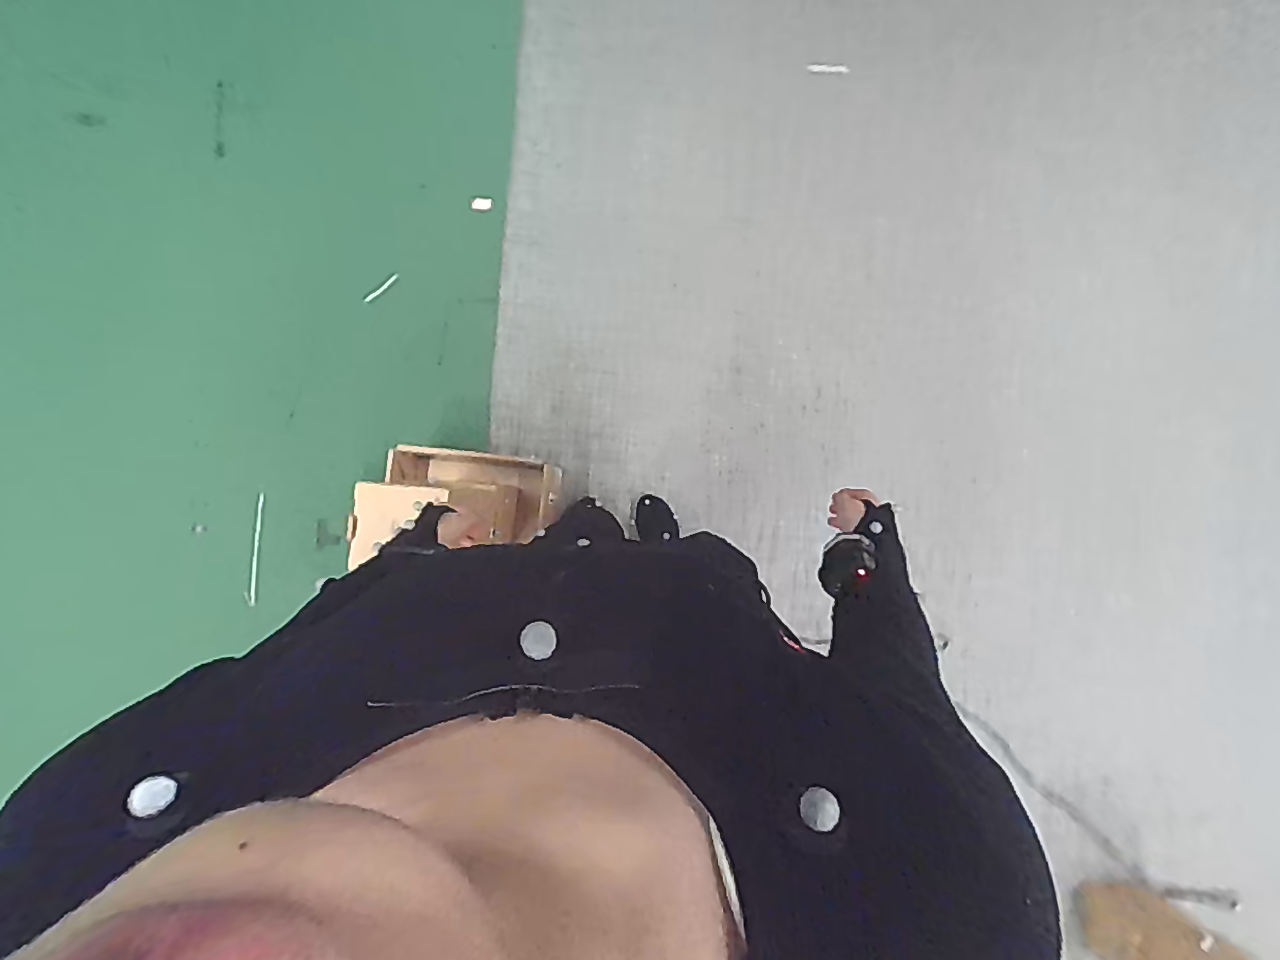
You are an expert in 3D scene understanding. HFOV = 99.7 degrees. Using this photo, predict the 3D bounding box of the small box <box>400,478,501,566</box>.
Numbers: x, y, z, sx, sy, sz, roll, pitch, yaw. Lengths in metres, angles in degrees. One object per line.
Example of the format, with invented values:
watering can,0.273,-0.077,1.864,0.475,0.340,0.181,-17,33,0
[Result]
small box,-0.427,0.089,1.205,0.179,0.176,0.168,7,90,1

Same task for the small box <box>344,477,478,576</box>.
small box,-0.431,0.085,1.040,0.179,0.176,0.168,4,89,2

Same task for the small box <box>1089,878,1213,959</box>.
small box,1.241,1.106,1.316,0.168,0.176,0.179,-5,89,3
